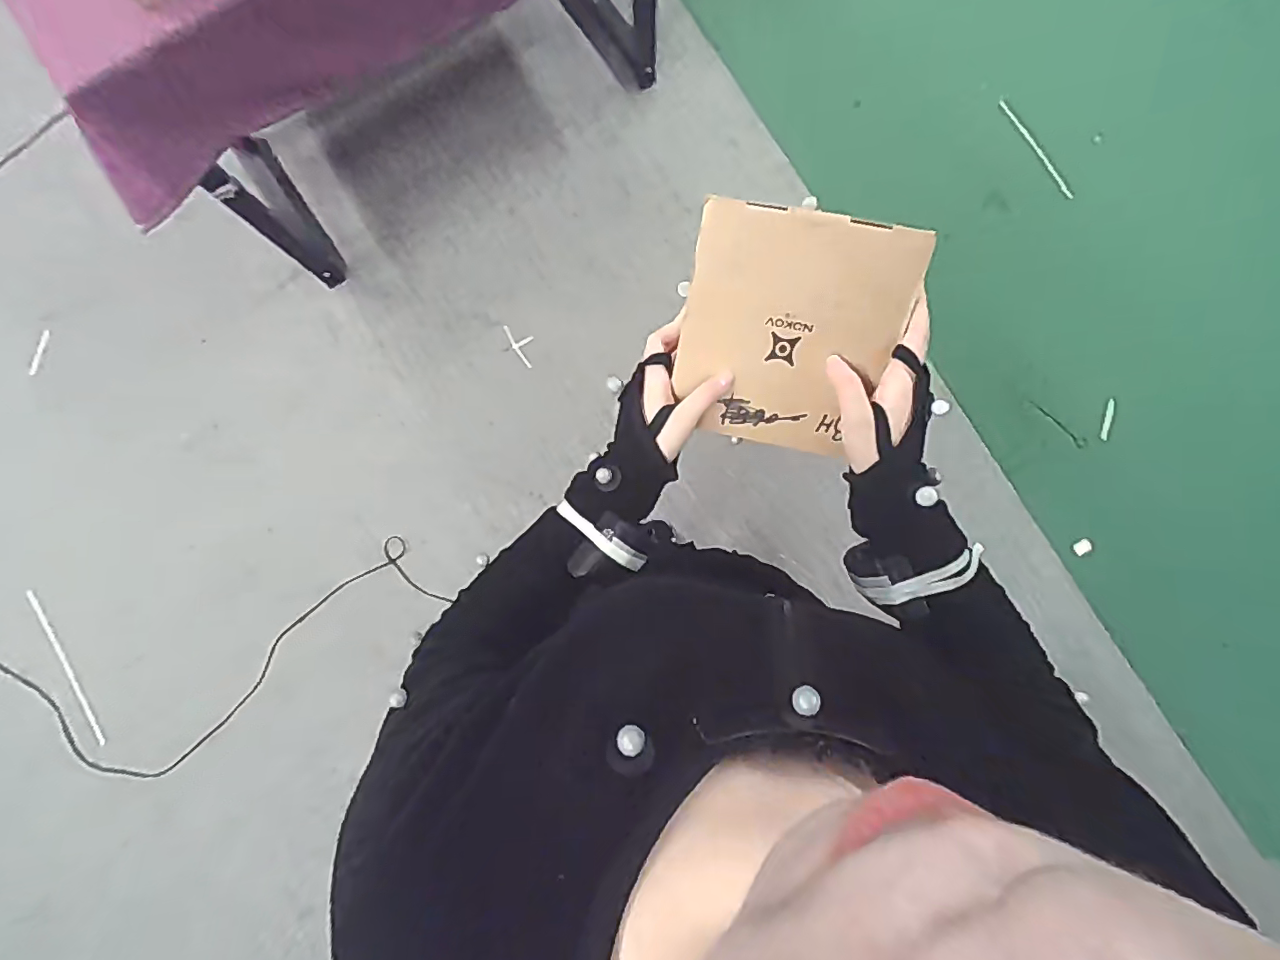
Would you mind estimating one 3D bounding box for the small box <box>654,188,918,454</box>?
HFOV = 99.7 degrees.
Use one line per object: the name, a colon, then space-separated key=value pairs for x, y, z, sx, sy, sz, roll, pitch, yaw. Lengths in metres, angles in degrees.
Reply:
small box: x=0.116 y=-0.146 z=0.489 sx=0.168 sy=0.176 sz=0.179 roll=12 pitch=114 yaw=6
